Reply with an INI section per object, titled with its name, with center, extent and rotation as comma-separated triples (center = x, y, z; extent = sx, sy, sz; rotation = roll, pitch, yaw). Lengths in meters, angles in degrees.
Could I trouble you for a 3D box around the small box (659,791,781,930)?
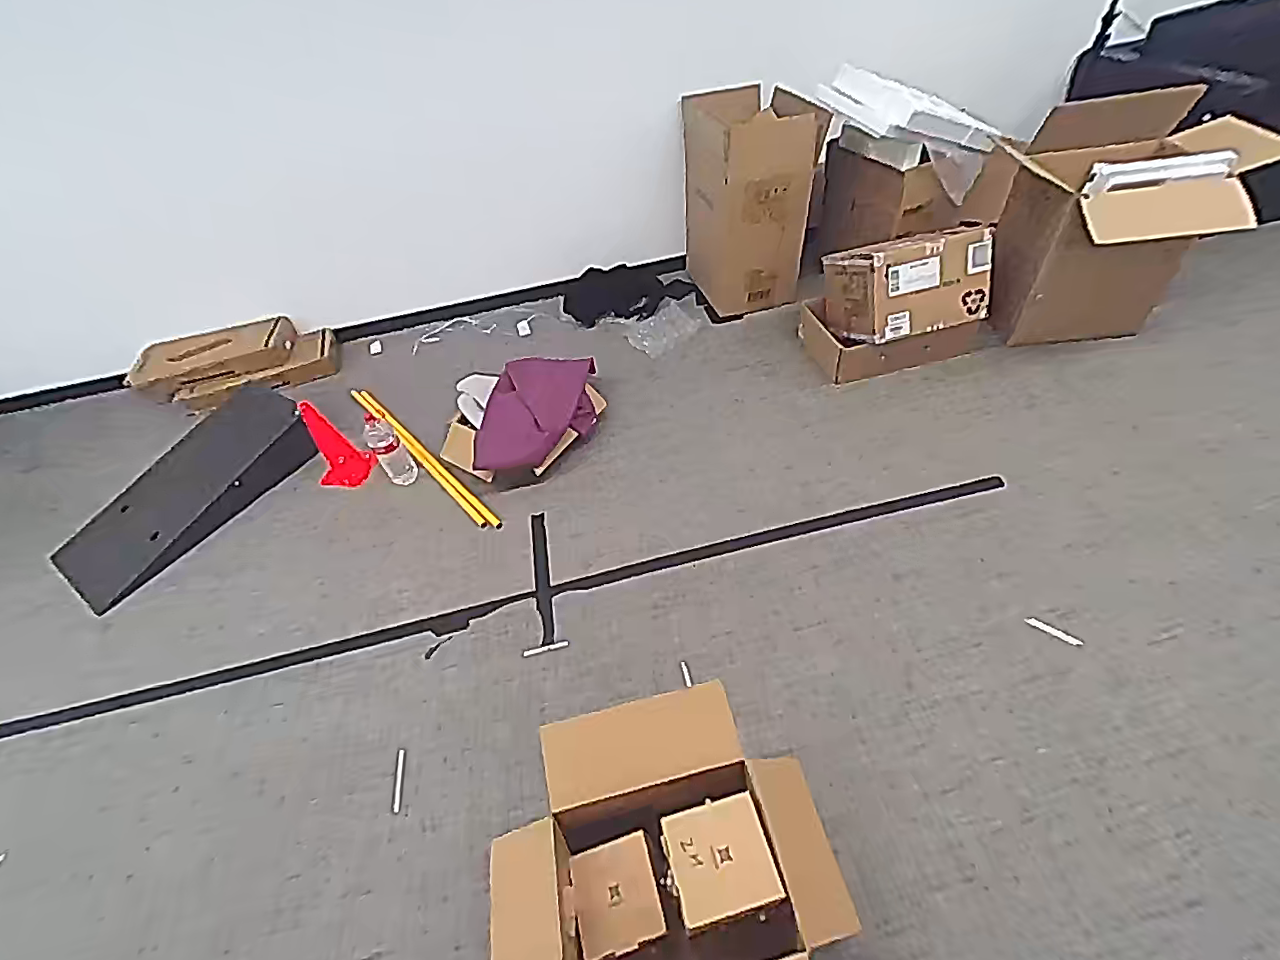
[small box]
center = 0.142, 0.714, 1.014
extent = 0.179, 0.176, 0.168
rotation = -14, 47, -6
